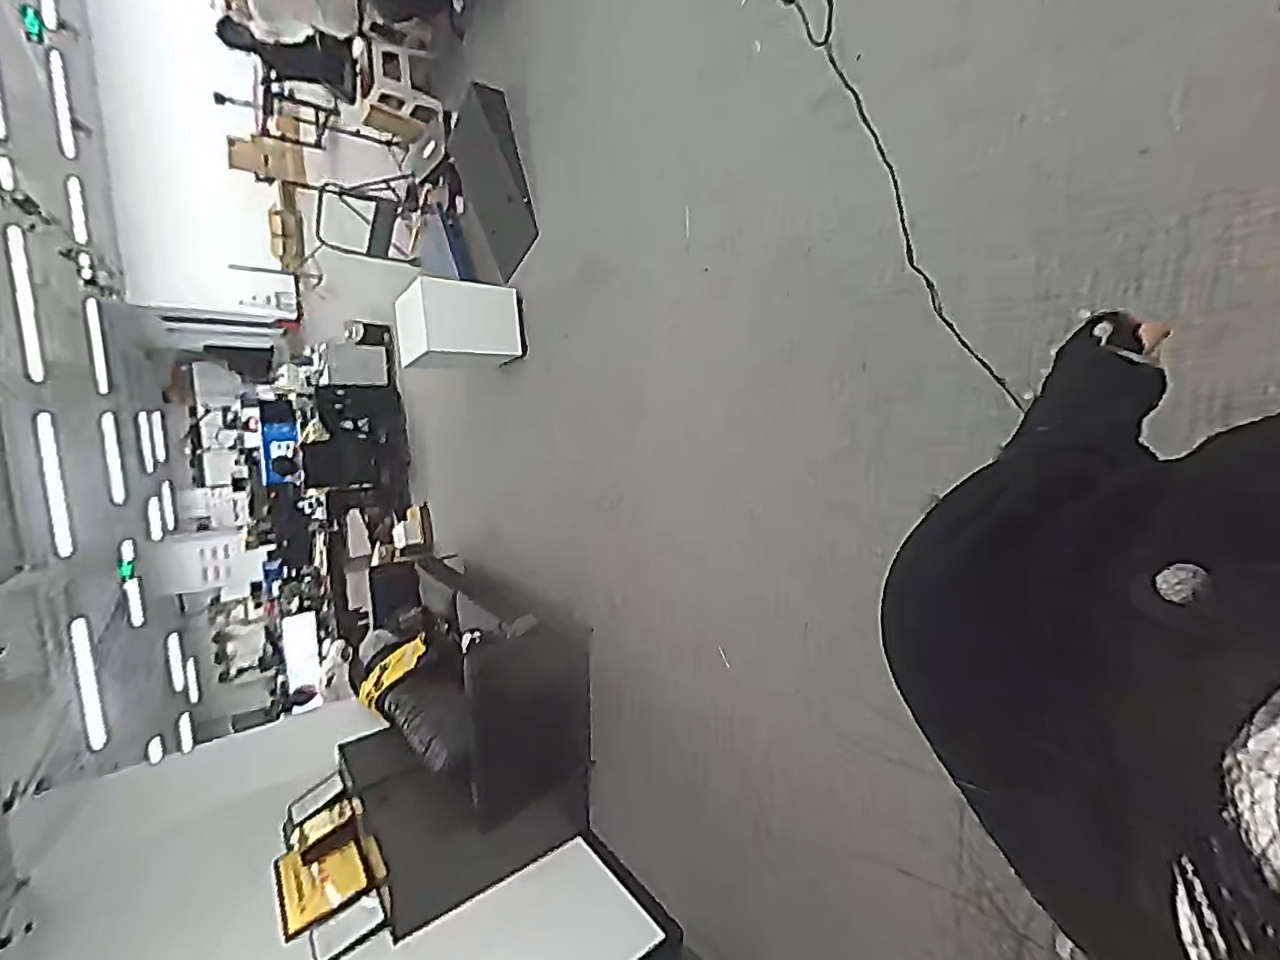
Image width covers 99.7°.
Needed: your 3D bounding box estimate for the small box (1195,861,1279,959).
[{"bbox_3d":[1.189,0.858,1.006,0.179,0.176,0.168,18,110,50],"label":"small box"}]
